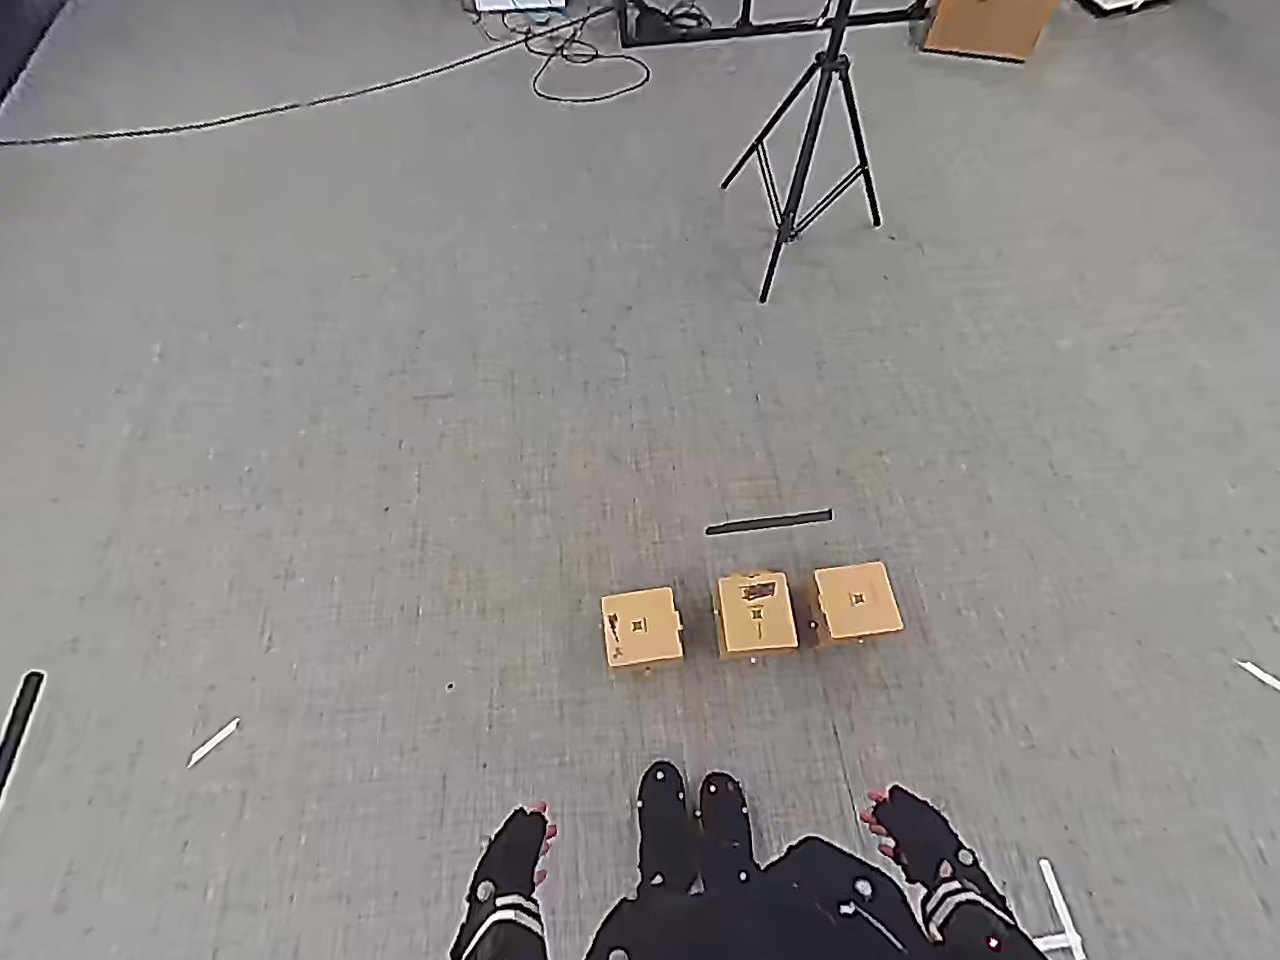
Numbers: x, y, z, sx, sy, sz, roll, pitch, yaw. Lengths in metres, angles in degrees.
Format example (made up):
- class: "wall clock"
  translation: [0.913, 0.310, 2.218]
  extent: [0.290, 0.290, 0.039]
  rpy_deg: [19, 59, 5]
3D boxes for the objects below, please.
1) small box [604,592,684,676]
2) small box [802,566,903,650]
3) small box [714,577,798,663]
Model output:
- class: "small box"
  translation: [0.008, 0.387, 1.343]
  extent: [0.179, 0.176, 0.168]
  rpy_deg: [-7, 65, -2]
- class: "small box"
  translation: [0.517, 0.324, 1.351]
  extent: [0.179, 0.176, 0.168]
  rpy_deg: [-7, 66, -2]
- class: "small box"
  translation: [0.279, 0.352, 1.346]
  extent: [0.168, 0.176, 0.179]
  rpy_deg: [-4, 66, 1]
